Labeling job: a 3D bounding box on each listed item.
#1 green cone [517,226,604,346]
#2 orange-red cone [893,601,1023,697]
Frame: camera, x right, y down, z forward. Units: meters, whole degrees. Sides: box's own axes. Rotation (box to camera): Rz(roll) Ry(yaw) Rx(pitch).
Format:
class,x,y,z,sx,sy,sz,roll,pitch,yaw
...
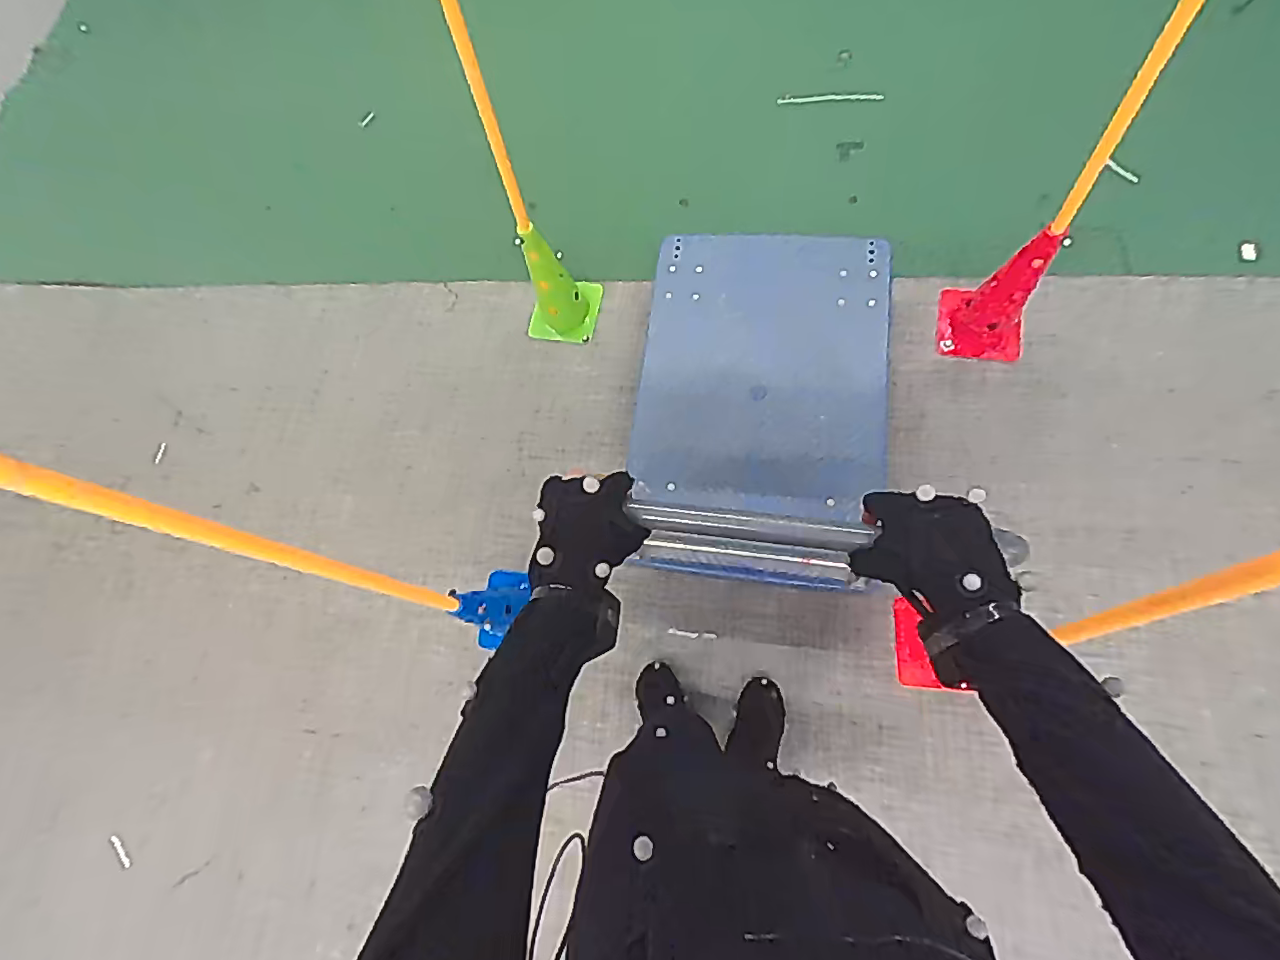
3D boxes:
class,x,y,z,sx,sy,sz,roll,pitch,yaw
green cone,-0.244,-0.547,1.468,0.202,0.368,0.200,8,75,12
orange-red cone,0.654,0.335,1.076,0.199,0.360,0.198,3,74,12
